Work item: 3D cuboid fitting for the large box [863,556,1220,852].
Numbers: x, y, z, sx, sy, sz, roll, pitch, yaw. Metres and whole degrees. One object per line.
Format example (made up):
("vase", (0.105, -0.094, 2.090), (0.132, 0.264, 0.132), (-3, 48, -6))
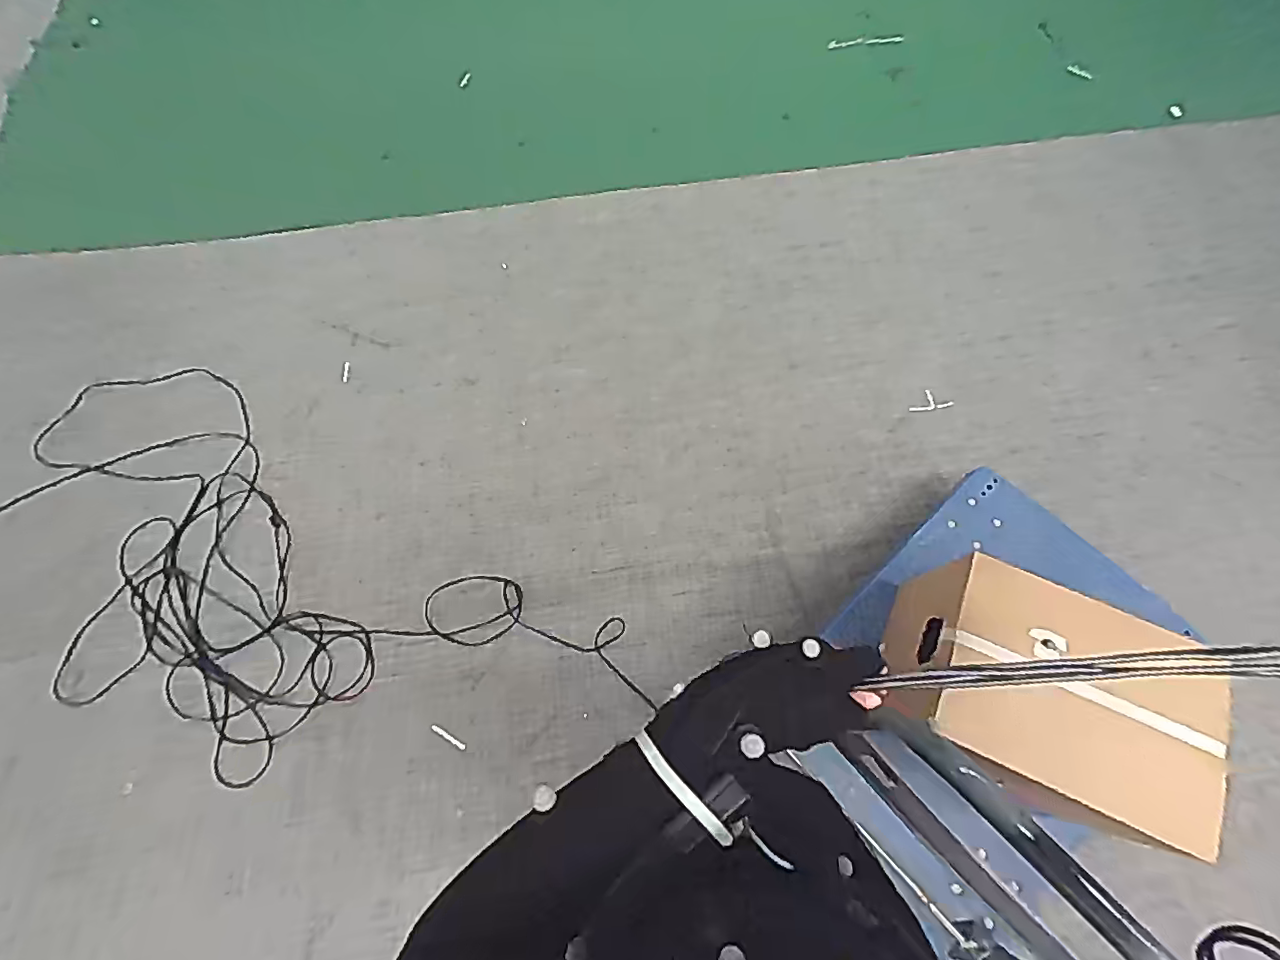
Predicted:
("large box", (0.695, 0.387, 0.993), (0.408, 0.320, 0.320), (23, 70, 11))
